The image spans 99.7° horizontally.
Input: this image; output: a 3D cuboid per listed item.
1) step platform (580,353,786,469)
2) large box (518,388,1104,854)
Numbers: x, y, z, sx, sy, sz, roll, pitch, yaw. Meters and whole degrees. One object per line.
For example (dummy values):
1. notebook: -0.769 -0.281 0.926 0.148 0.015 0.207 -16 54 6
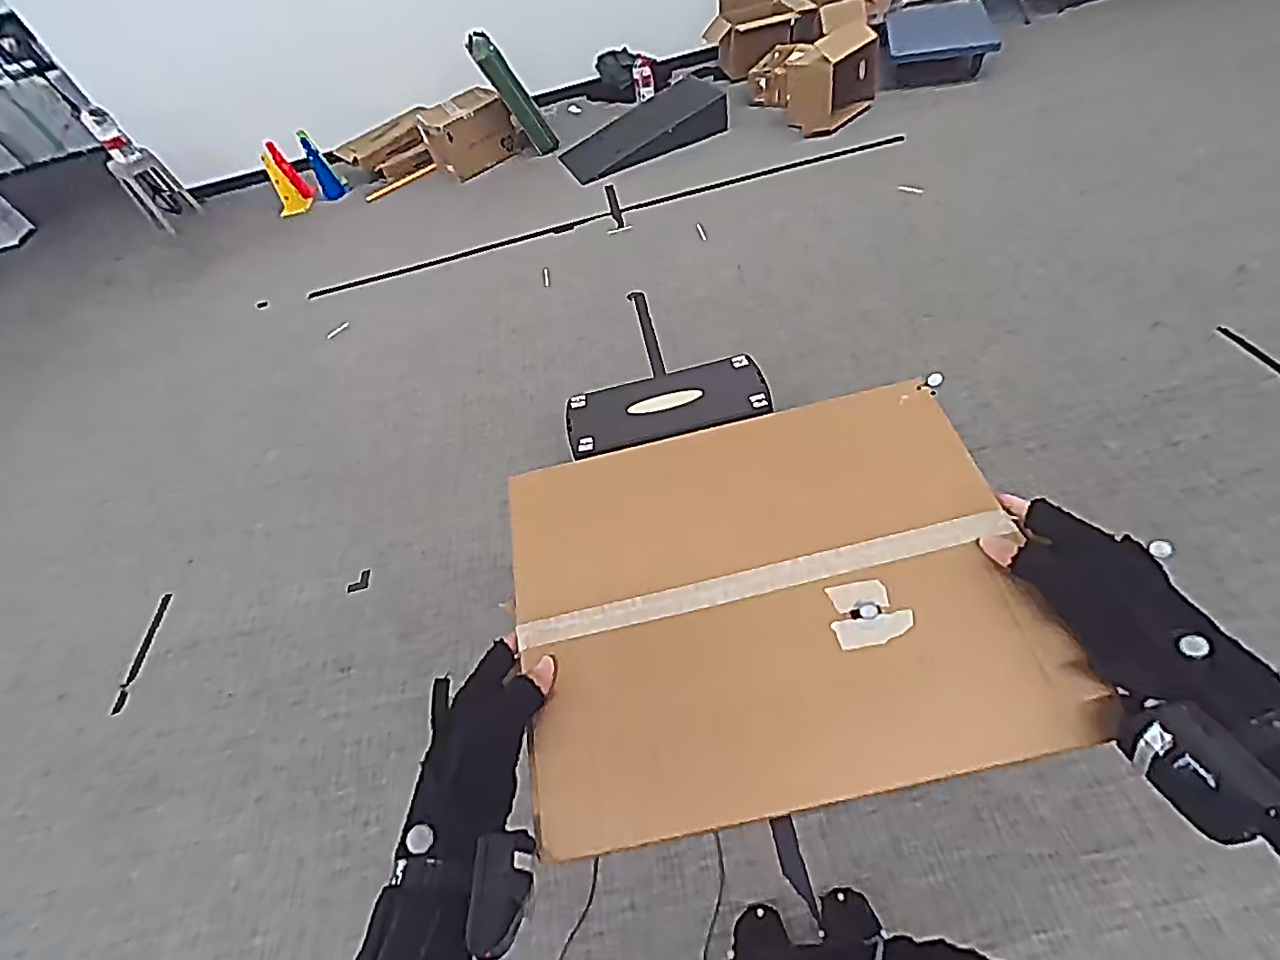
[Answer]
1. step platform: 0.139 -0.206 1.841 0.684 0.204 0.286 -14 52 1
2. large box: 0.121 0.160 0.578 0.408 0.320 0.320 -14 60 2
